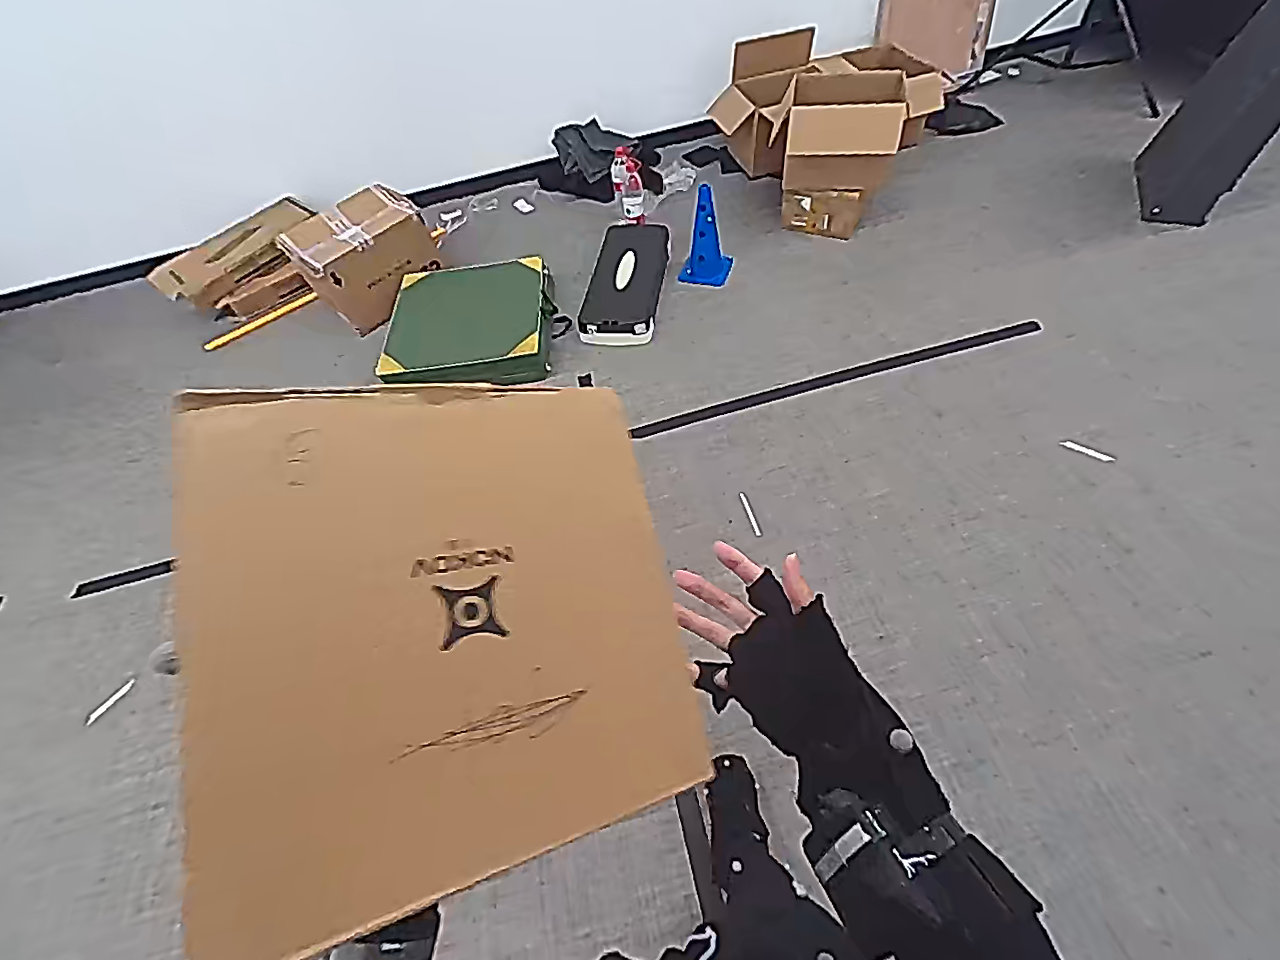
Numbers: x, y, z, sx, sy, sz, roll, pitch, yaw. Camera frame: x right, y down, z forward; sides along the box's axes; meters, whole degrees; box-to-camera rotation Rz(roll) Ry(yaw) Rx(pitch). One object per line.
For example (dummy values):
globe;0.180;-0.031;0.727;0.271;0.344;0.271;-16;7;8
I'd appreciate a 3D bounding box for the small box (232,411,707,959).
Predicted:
small box;-0.095;0.079;0.279;0.168;0.176;0.179;-4;72;-29
